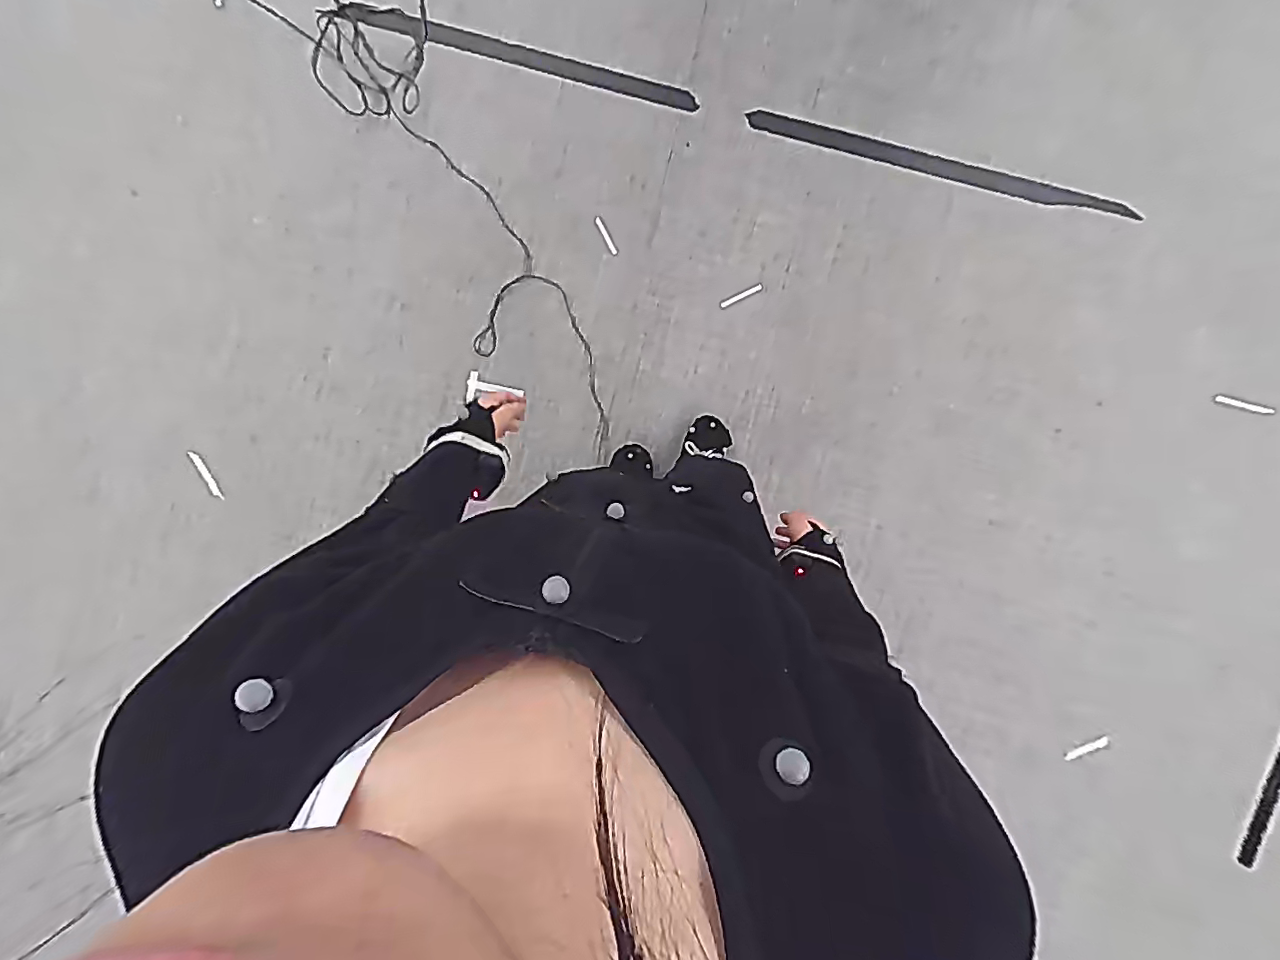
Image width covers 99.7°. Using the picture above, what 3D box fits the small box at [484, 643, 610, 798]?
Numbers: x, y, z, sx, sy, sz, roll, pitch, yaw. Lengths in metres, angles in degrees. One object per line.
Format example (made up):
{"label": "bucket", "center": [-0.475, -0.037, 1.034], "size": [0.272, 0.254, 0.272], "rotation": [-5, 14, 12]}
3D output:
{"label": "small box", "center": [-0.157, 0.420, 0.977], "size": [0.168, 0.176, 0.179], "rotation": [19, 94, 1]}
